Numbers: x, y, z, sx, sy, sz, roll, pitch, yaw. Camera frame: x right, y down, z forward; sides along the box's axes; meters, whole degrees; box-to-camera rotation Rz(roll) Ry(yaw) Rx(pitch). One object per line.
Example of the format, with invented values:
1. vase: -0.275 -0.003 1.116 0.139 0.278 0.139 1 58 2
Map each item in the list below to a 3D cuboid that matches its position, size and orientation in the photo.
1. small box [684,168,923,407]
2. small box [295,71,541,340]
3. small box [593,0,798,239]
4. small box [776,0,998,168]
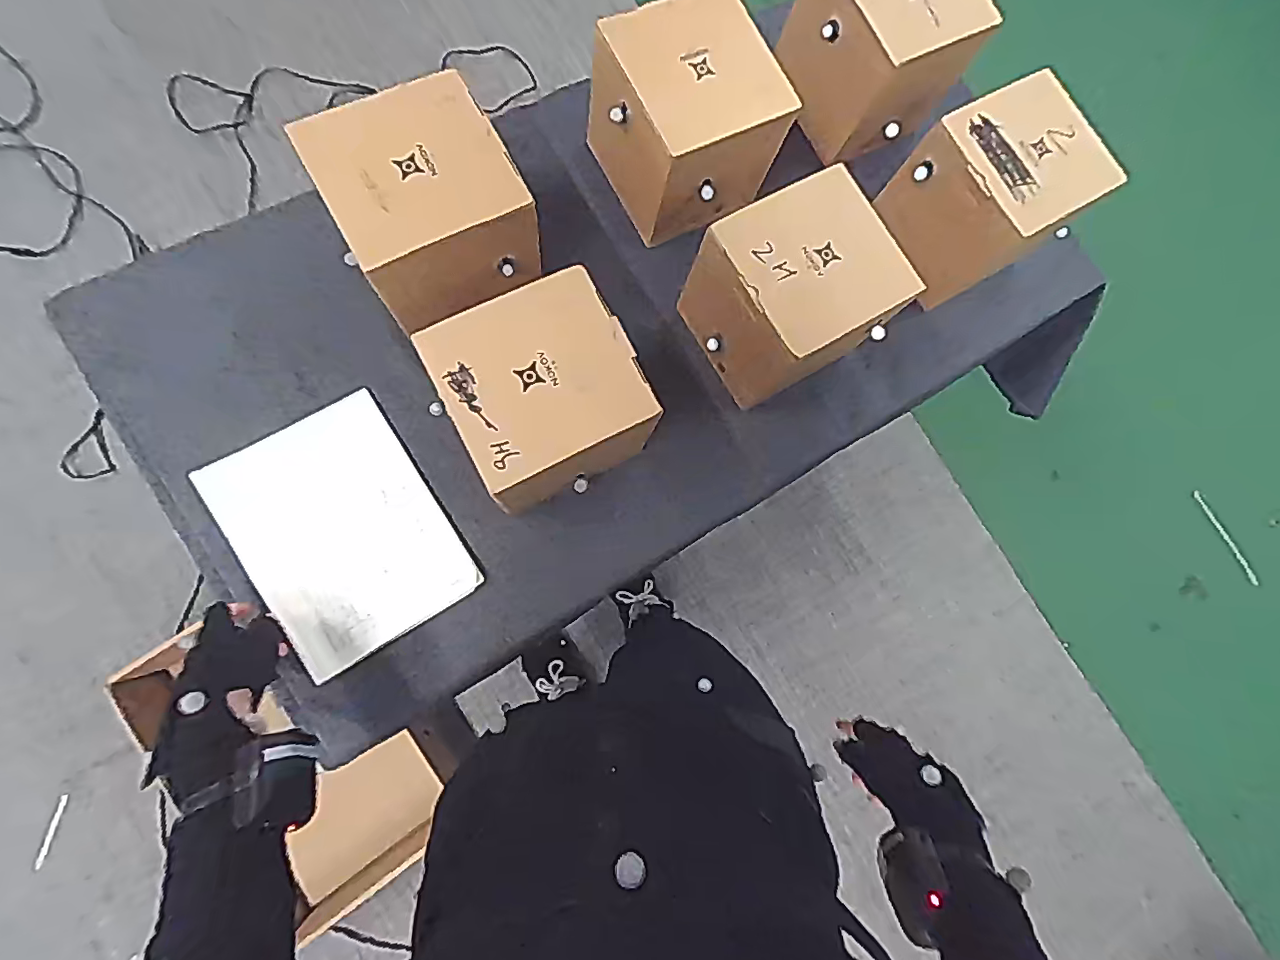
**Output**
1. small box: 0.174 -0.211 0.631 0.179 0.176 0.168 -30 84 -11
2. small box: -0.222 -0.284 0.591 0.179 0.176 0.168 -29 85 -12
3. small box: 0.054 -0.424 0.656 0.168 0.176 0.179 -27 85 -11
4. small box: 0.304 -0.560 0.709 0.168 0.176 0.179 -28 86 -11
